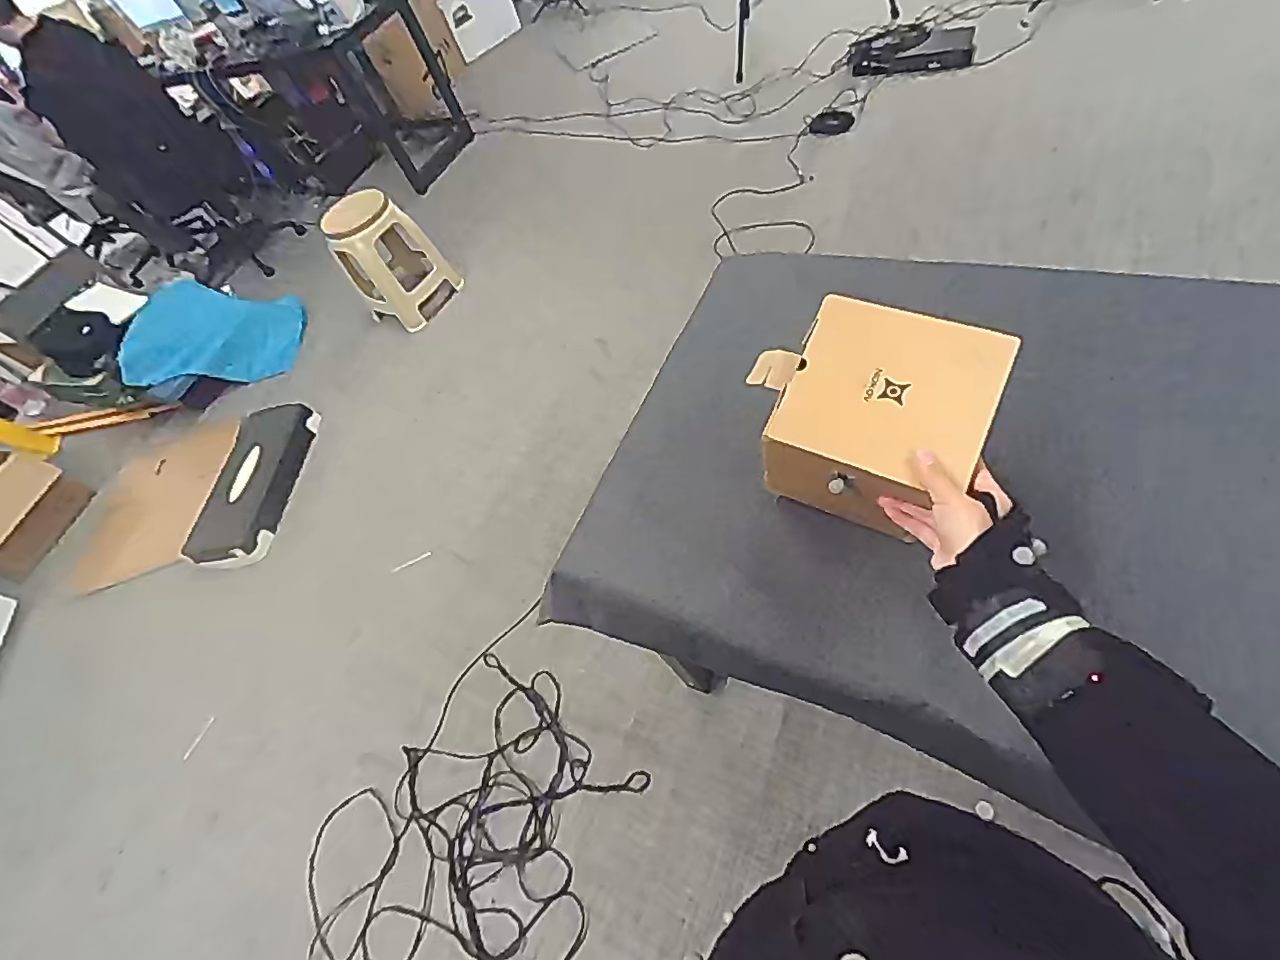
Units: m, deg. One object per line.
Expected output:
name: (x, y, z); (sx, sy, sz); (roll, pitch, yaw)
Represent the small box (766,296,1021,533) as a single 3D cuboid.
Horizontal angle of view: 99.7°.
small box: (0.245, -0.056, 0.566); (0.179, 0.176, 0.168); (23, 78, 20)
